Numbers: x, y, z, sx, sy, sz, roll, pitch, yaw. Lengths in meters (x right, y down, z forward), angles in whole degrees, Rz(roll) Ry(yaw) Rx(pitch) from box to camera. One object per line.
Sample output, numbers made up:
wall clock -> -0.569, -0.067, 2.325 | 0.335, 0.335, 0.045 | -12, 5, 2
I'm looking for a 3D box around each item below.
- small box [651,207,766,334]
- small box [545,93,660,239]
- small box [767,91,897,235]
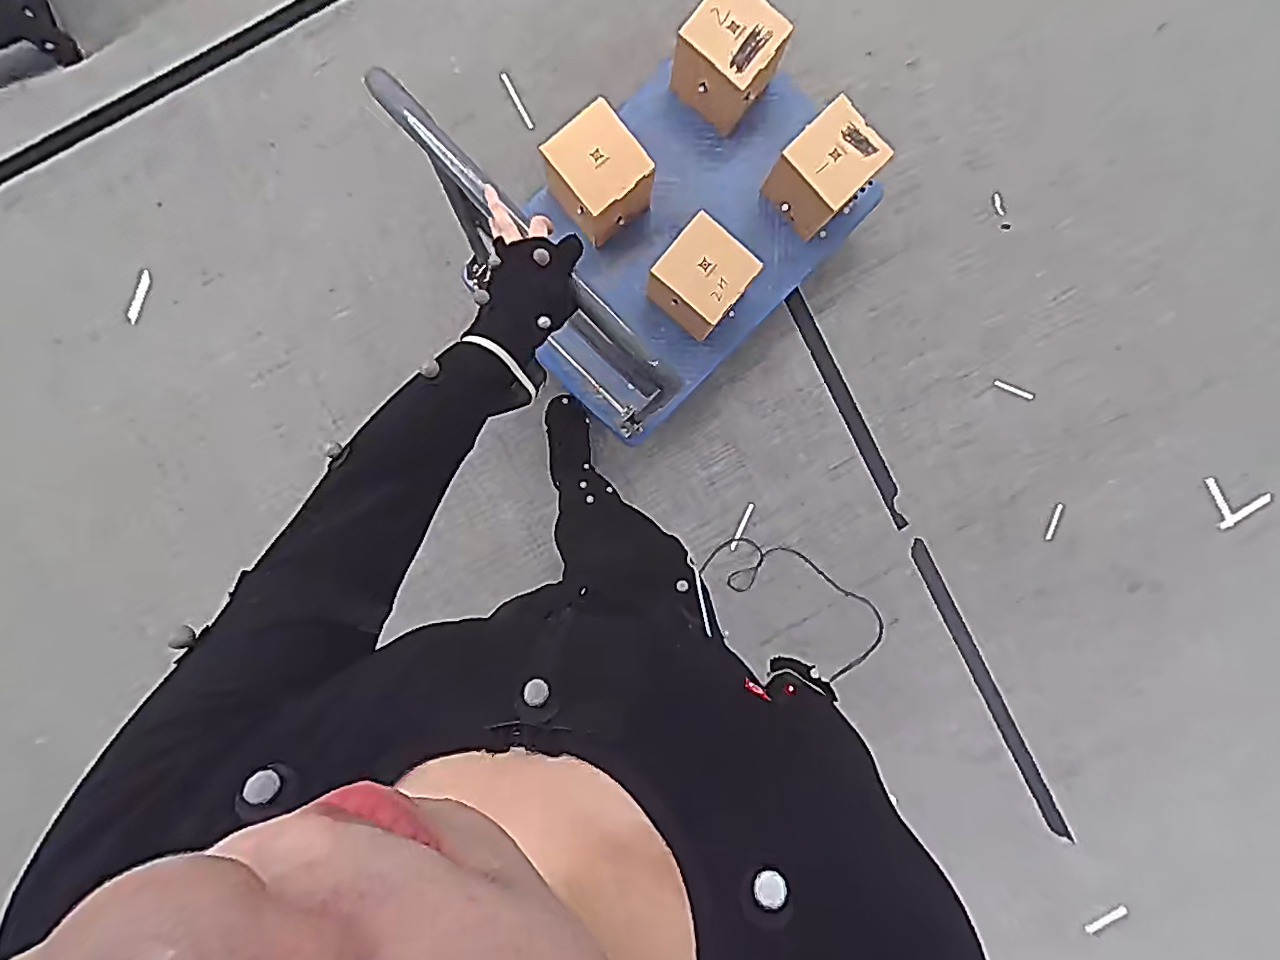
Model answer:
small box -> 0.139, -0.445, 1.183 | 0.179, 0.176, 0.168 | 41, 91, -5
small box -> -0.082, -0.658, 1.158 | 0.168, 0.176, 0.179 | -40, 96, -1
small box -> 0.409, -0.682, 1.184 | 0.179, 0.176, 0.168 | -44, 95, 1
